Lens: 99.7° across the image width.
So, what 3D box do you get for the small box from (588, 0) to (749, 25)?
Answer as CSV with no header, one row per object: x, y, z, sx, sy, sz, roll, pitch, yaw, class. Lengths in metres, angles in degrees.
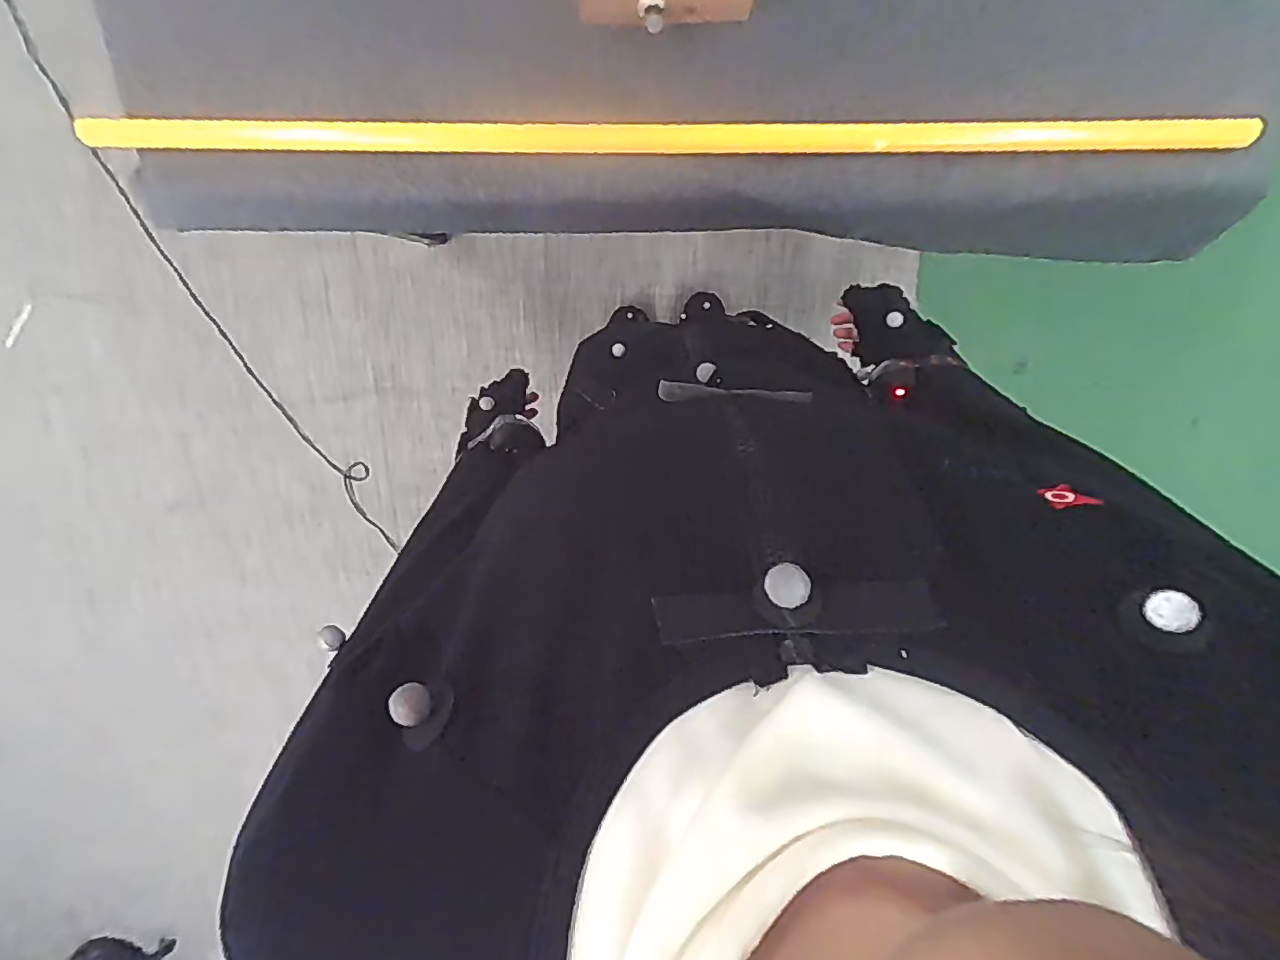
0.022,-0.521,0.443,0.168,0.176,0.179,-2,110,3,small box
